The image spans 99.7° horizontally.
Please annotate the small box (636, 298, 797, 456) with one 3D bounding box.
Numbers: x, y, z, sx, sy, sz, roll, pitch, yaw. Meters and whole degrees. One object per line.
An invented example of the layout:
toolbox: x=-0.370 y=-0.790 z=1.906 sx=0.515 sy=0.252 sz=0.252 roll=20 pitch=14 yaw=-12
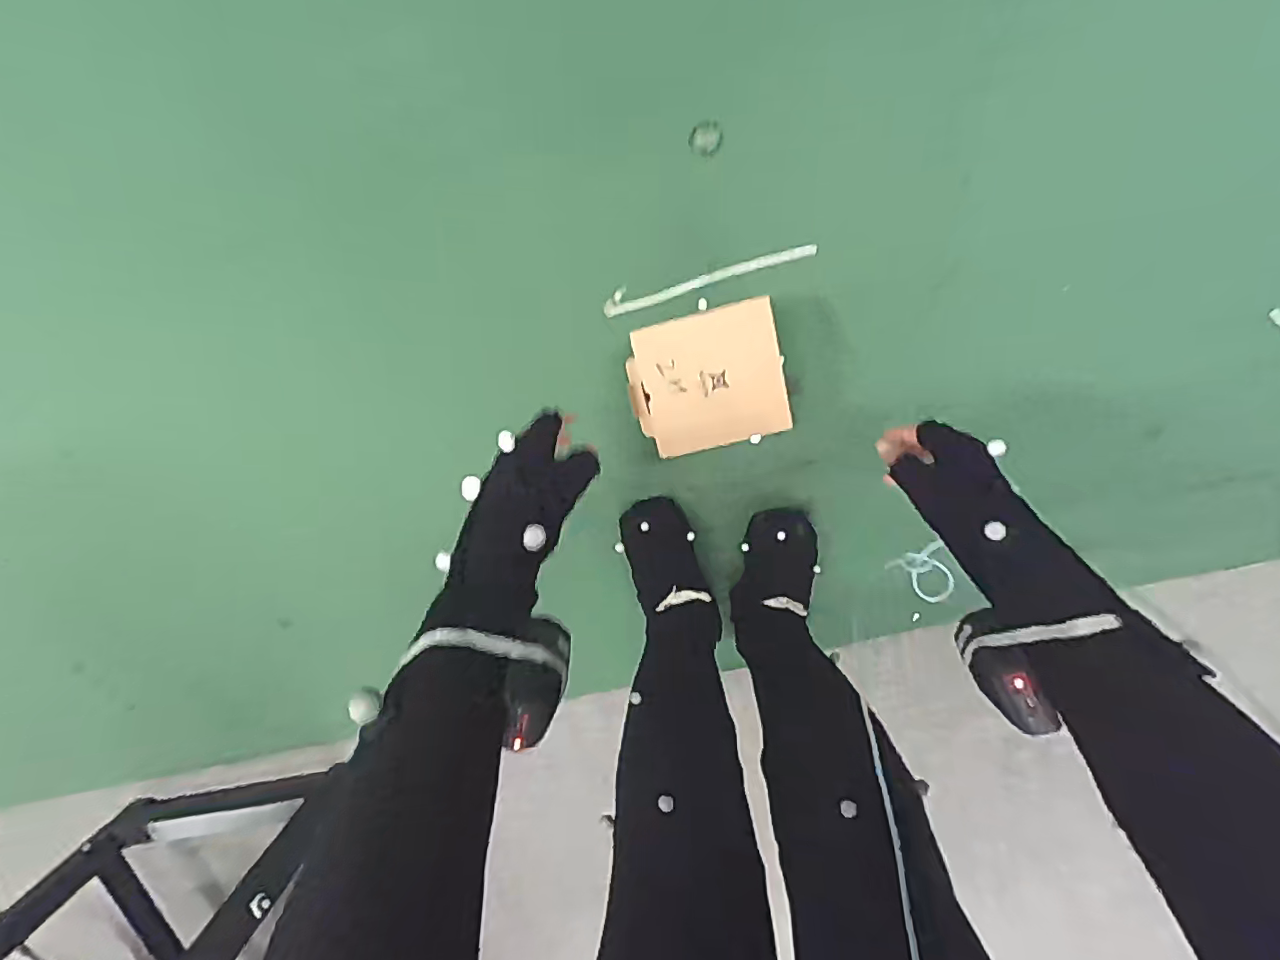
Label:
small box: x=0.101 y=-0.147 z=0.743 sx=0.179 sy=0.176 sz=0.168 roll=-12 pitch=105 yaw=9
